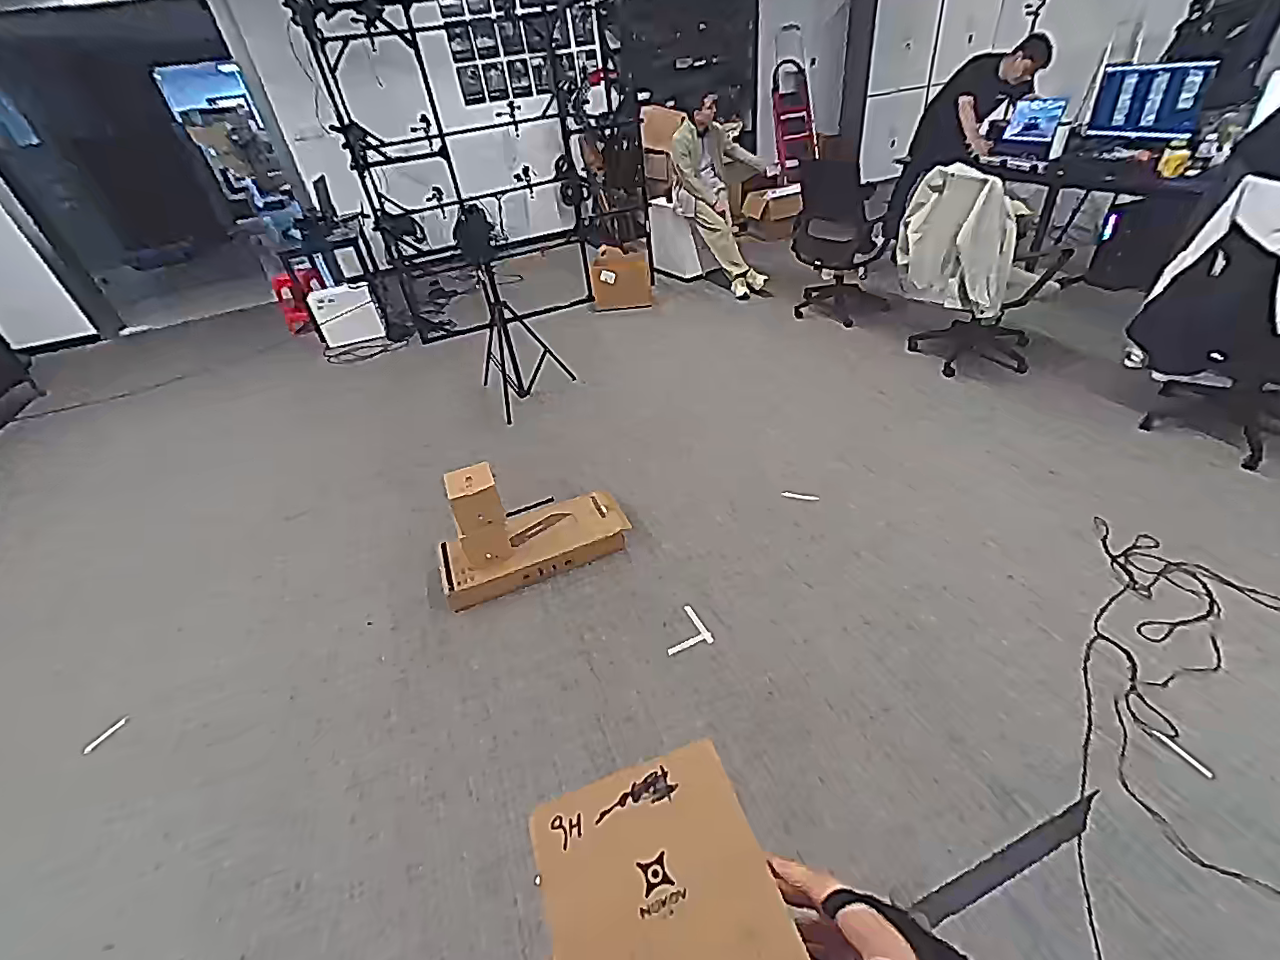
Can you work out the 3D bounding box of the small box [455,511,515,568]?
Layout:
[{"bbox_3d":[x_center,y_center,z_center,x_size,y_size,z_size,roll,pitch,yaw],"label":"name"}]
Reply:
[{"bbox_3d":[-0.596,0.204,2.079,0.168,0.176,0.179,-20,39,-15],"label":"small box"}]

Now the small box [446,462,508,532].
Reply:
[{"bbox_3d":[-0.600,0.063,1.990,0.168,0.176,0.179,-19,38,-14],"label":"small box"}]
